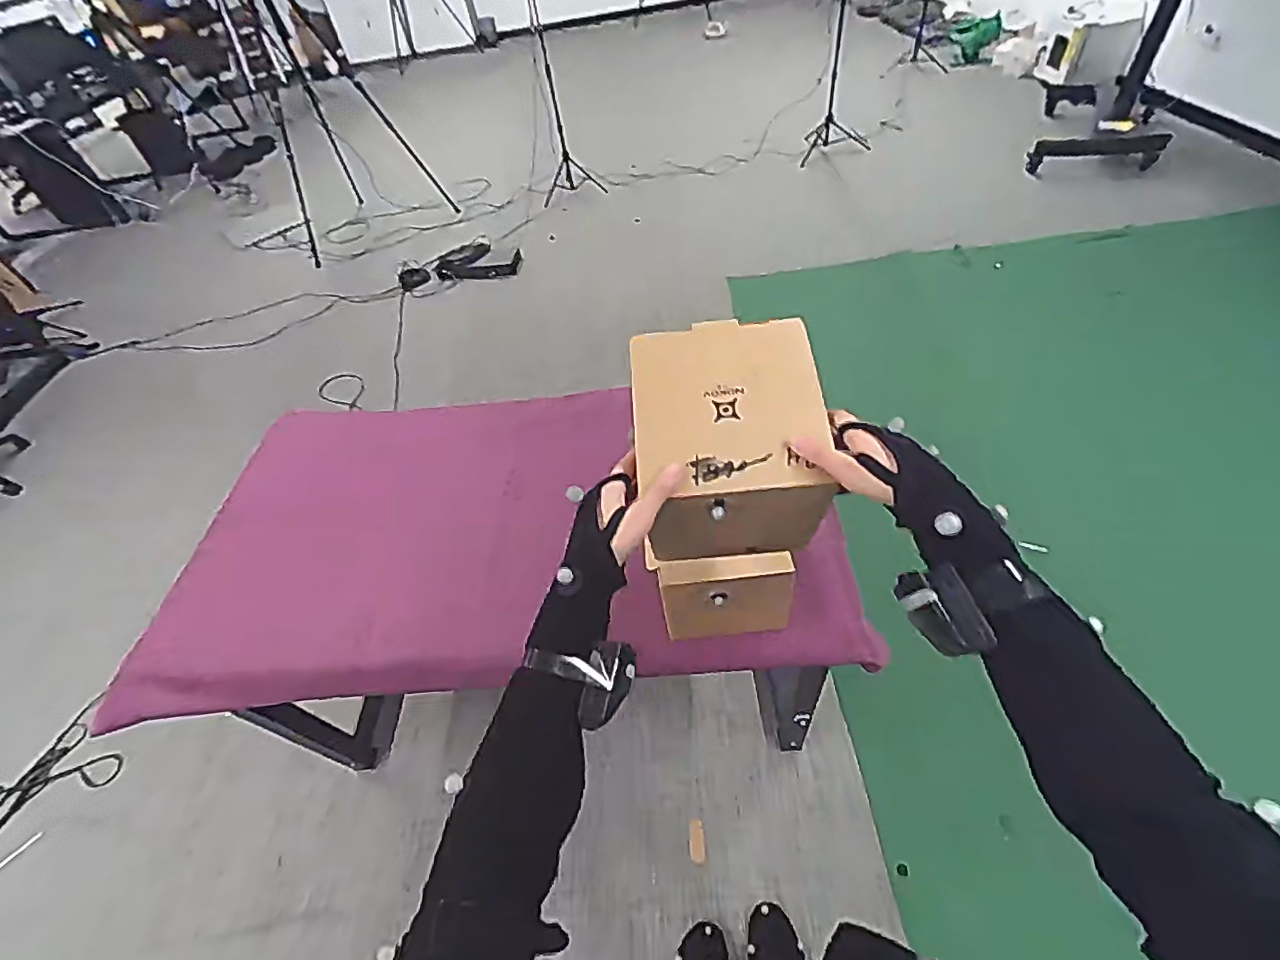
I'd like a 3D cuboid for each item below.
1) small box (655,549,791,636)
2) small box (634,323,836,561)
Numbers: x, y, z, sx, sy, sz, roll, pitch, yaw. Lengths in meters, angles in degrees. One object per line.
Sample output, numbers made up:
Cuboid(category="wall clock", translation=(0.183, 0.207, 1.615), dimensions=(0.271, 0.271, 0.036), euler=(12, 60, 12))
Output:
Cuboid(category="small box", translation=(0.117, 0.121, 0.811), dimensions=(0.179, 0.176, 0.168), euler=(-7, 49, 3))
Cuboid(category="small box", translation=(0.084, -0.031, 0.551), dimensions=(0.168, 0.176, 0.179), euler=(-5, 62, 5))
